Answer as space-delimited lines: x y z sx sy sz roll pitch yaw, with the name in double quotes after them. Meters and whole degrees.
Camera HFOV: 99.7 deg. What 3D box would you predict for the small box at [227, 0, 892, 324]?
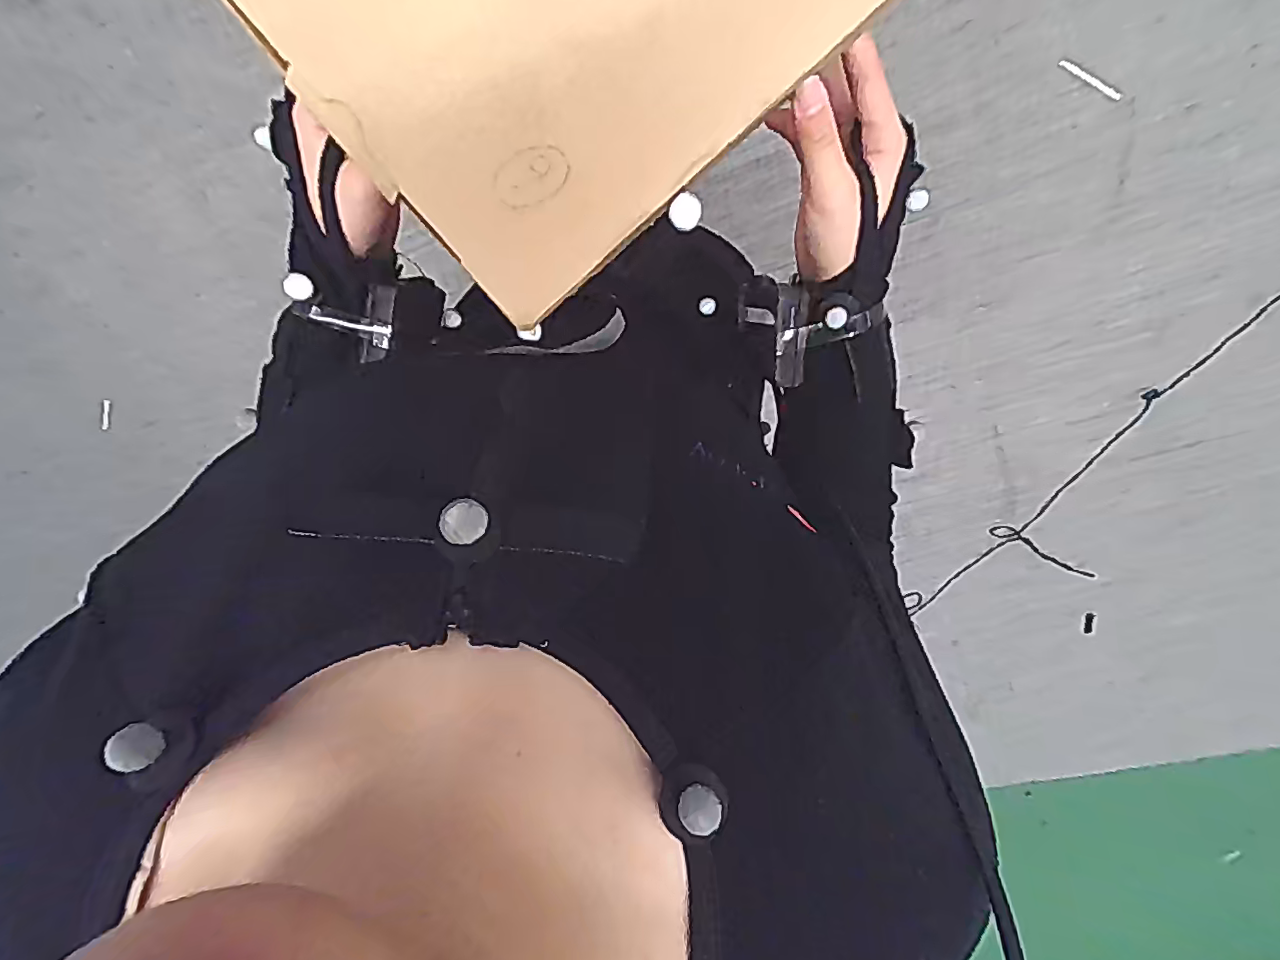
-0.022 -0.195 0.218 0.179 0.176 0.168 -35 109 21 "small box"
